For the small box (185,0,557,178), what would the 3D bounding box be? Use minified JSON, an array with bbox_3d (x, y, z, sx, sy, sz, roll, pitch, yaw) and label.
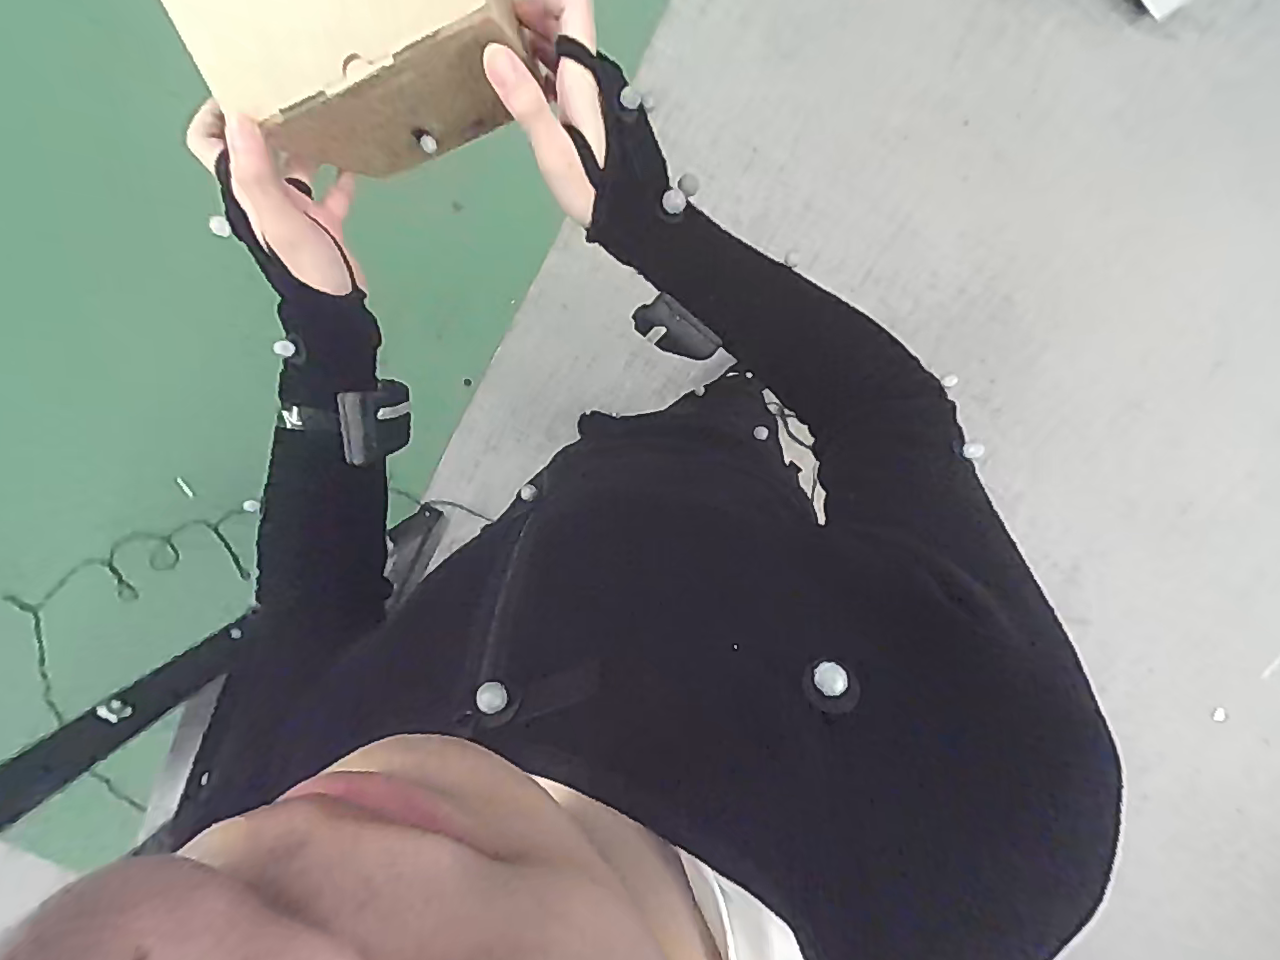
[{"bbox_3d":[-0.169,-0.325,0.347,0.168,0.176,0.179,-18,110,9],"label":"small box"}]
